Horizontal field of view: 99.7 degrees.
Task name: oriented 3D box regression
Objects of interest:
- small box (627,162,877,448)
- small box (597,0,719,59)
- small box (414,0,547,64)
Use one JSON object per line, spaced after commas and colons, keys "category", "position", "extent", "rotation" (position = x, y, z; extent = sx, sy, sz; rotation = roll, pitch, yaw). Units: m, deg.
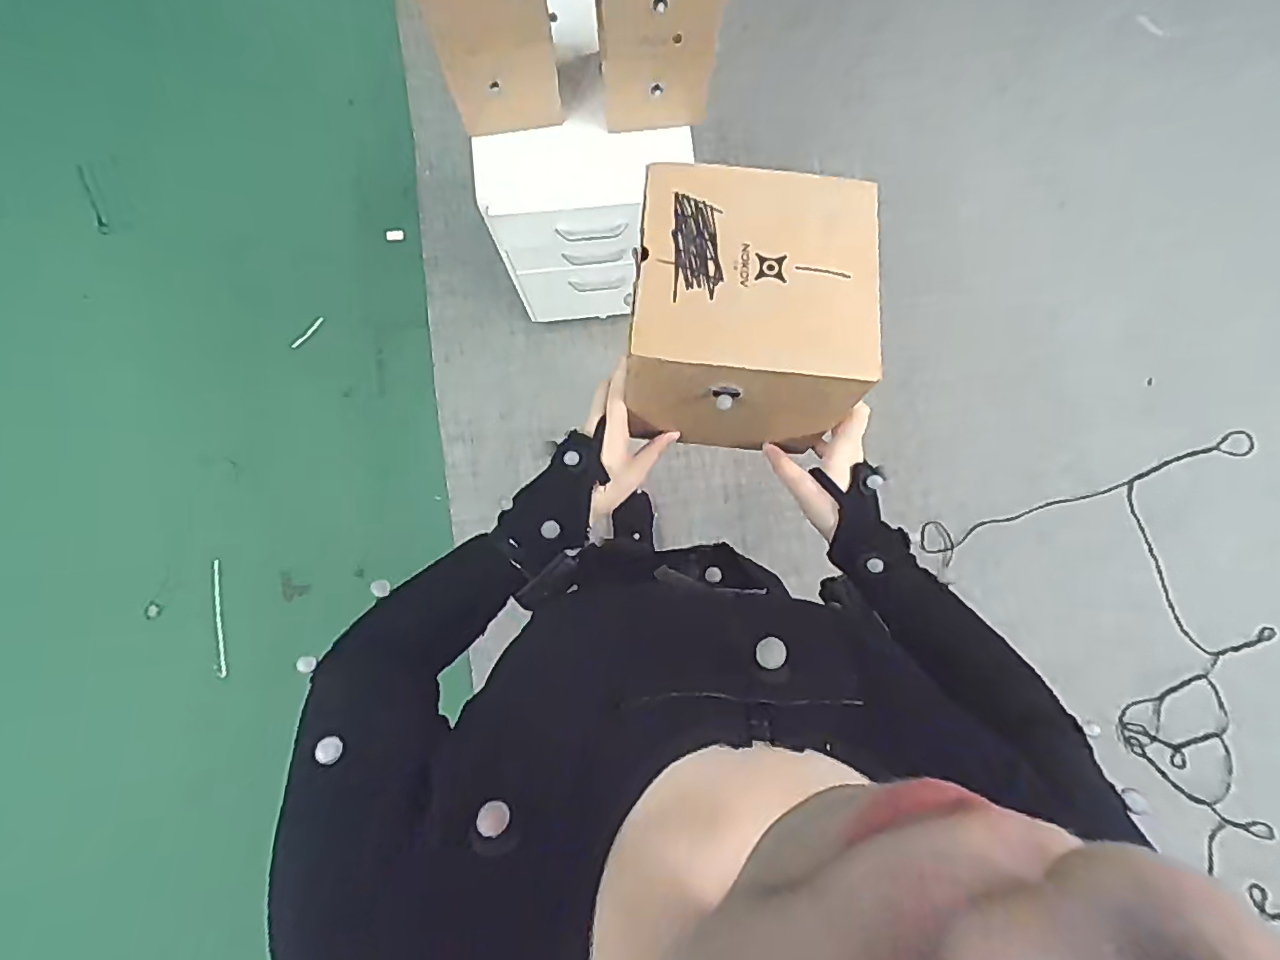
{"category": "small box", "position": [0.082, -0.135, 0.468], "extent": [0.179, 0.176, 0.168], "rotation": [6, 75, -1]}
{"category": "small box", "position": [0.020, -0.720, 0.742], "extent": [0.168, 0.176, 0.179], "rotation": [-7, 85, -1]}
{"category": "small box", "position": [-0.229, -0.719, 0.737], "extent": [0.179, 0.176, 0.168], "rotation": [-12, 84, -3]}
